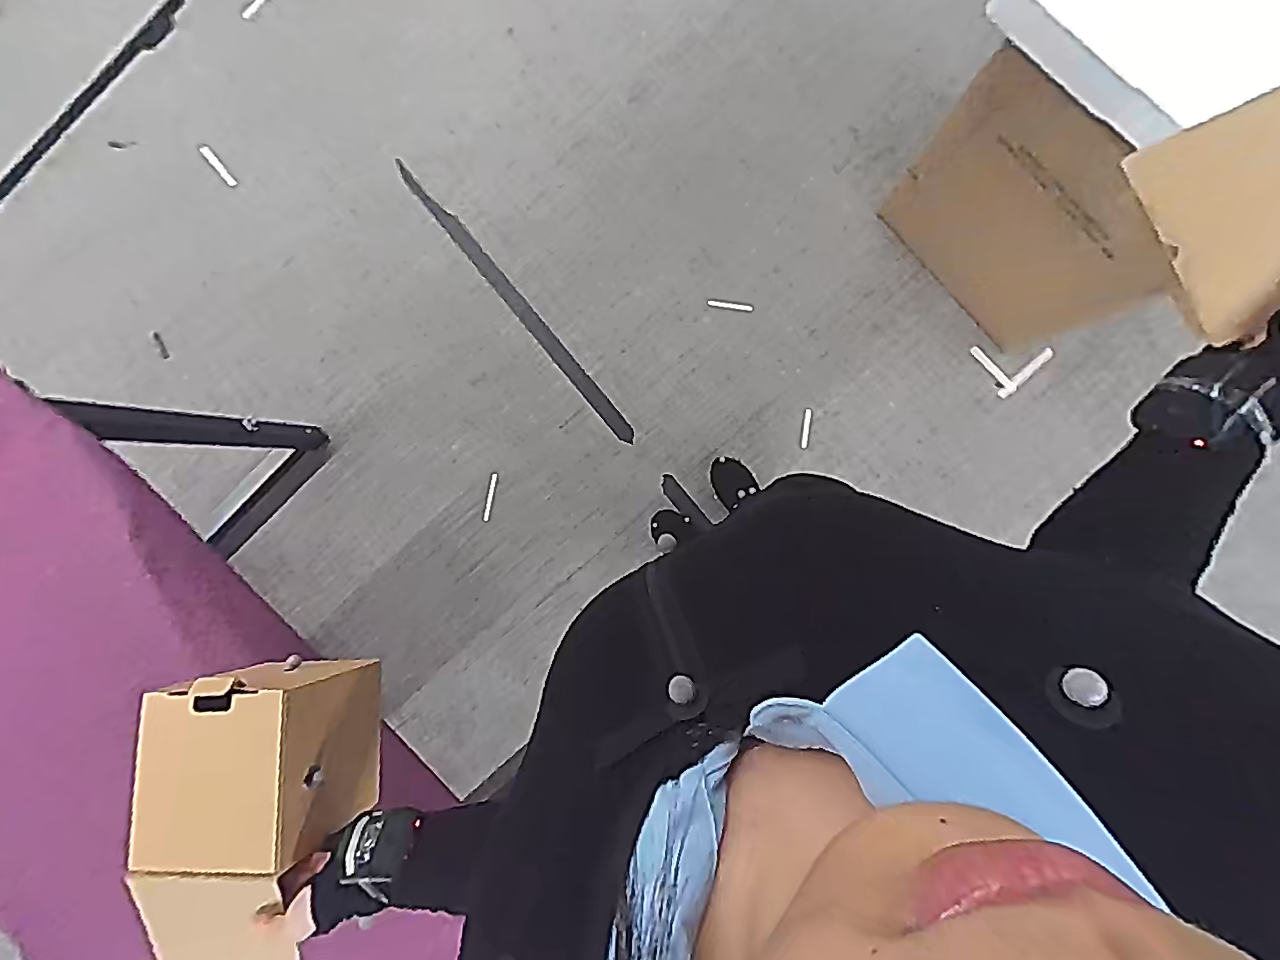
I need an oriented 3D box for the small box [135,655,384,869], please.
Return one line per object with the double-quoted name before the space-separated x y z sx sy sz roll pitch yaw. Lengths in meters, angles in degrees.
"small box" -0.420 0.308 0.625 0.168 0.176 0.179 -4 80 7
